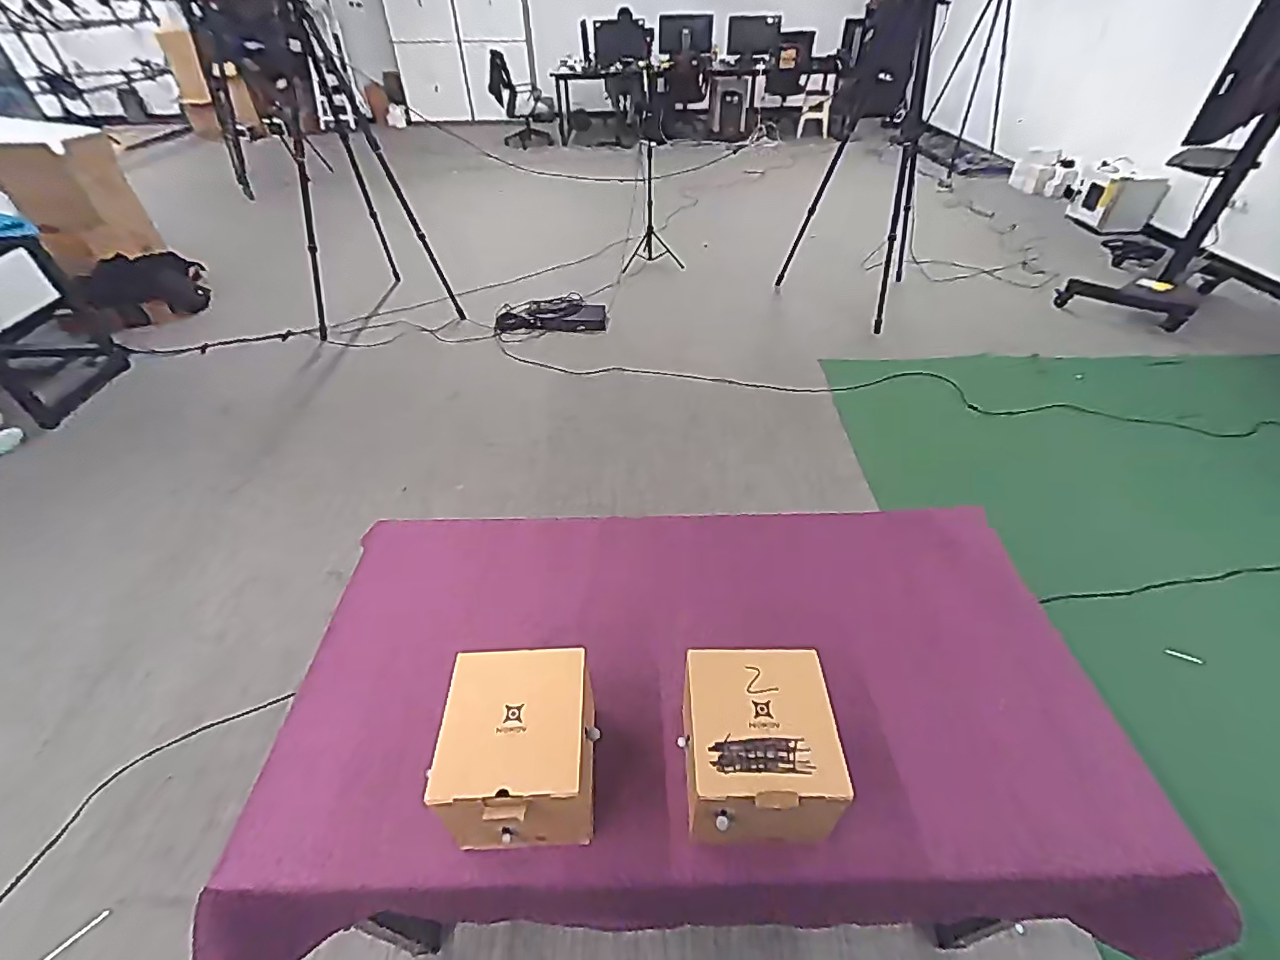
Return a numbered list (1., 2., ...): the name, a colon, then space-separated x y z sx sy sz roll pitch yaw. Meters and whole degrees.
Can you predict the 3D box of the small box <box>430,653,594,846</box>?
1. small box: -0.150 0.347 0.700 0.168 0.176 0.179 -2 43 -1
